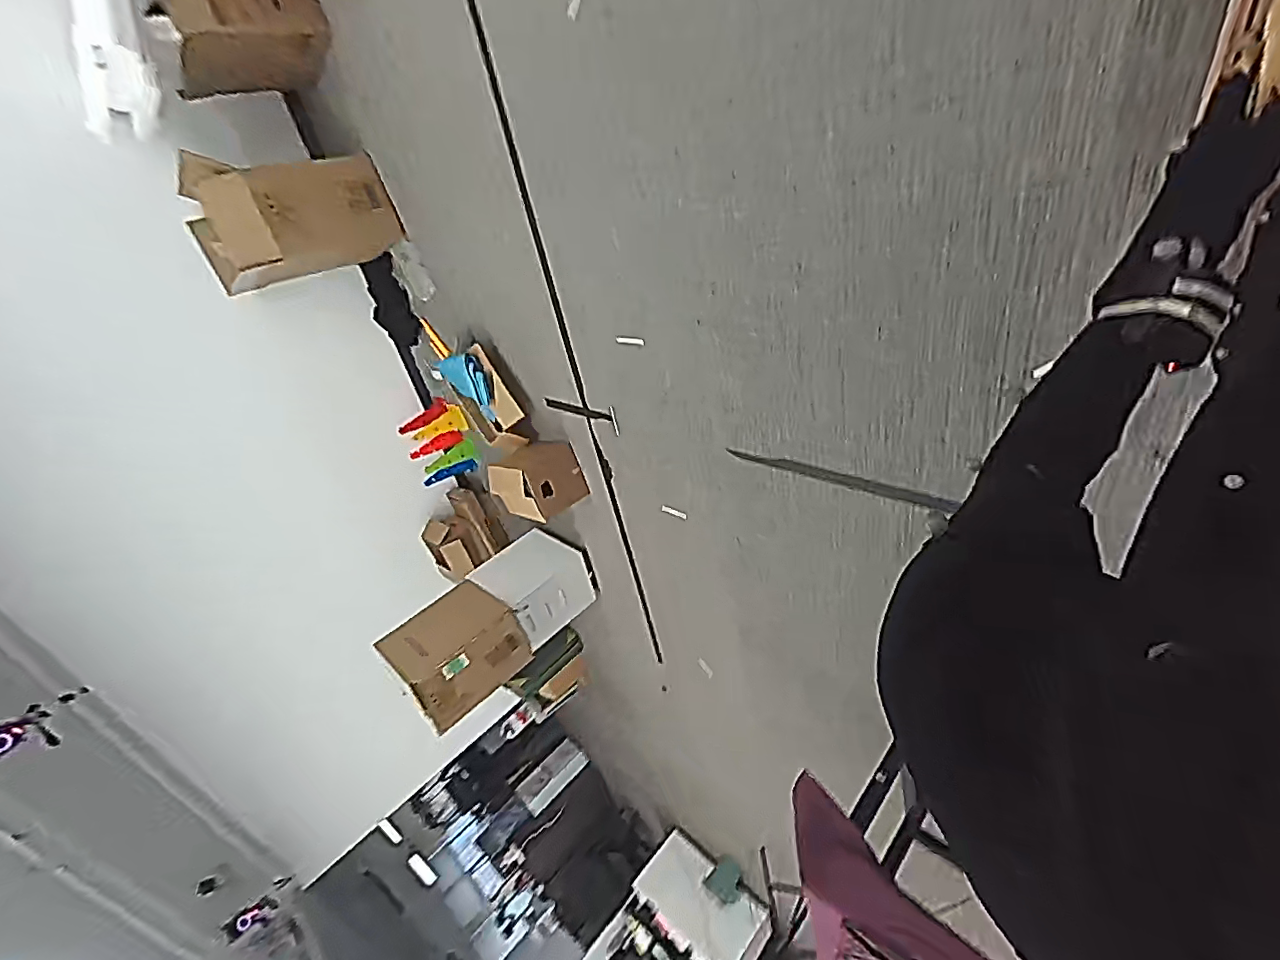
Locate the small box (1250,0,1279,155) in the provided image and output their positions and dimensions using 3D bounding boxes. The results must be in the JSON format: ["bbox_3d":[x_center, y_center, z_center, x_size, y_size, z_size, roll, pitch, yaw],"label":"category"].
[{"bbox_3d":[0.569,-0.348,0.372,0.179,0.176,0.168,11,110,45],"label":"small box"}]
